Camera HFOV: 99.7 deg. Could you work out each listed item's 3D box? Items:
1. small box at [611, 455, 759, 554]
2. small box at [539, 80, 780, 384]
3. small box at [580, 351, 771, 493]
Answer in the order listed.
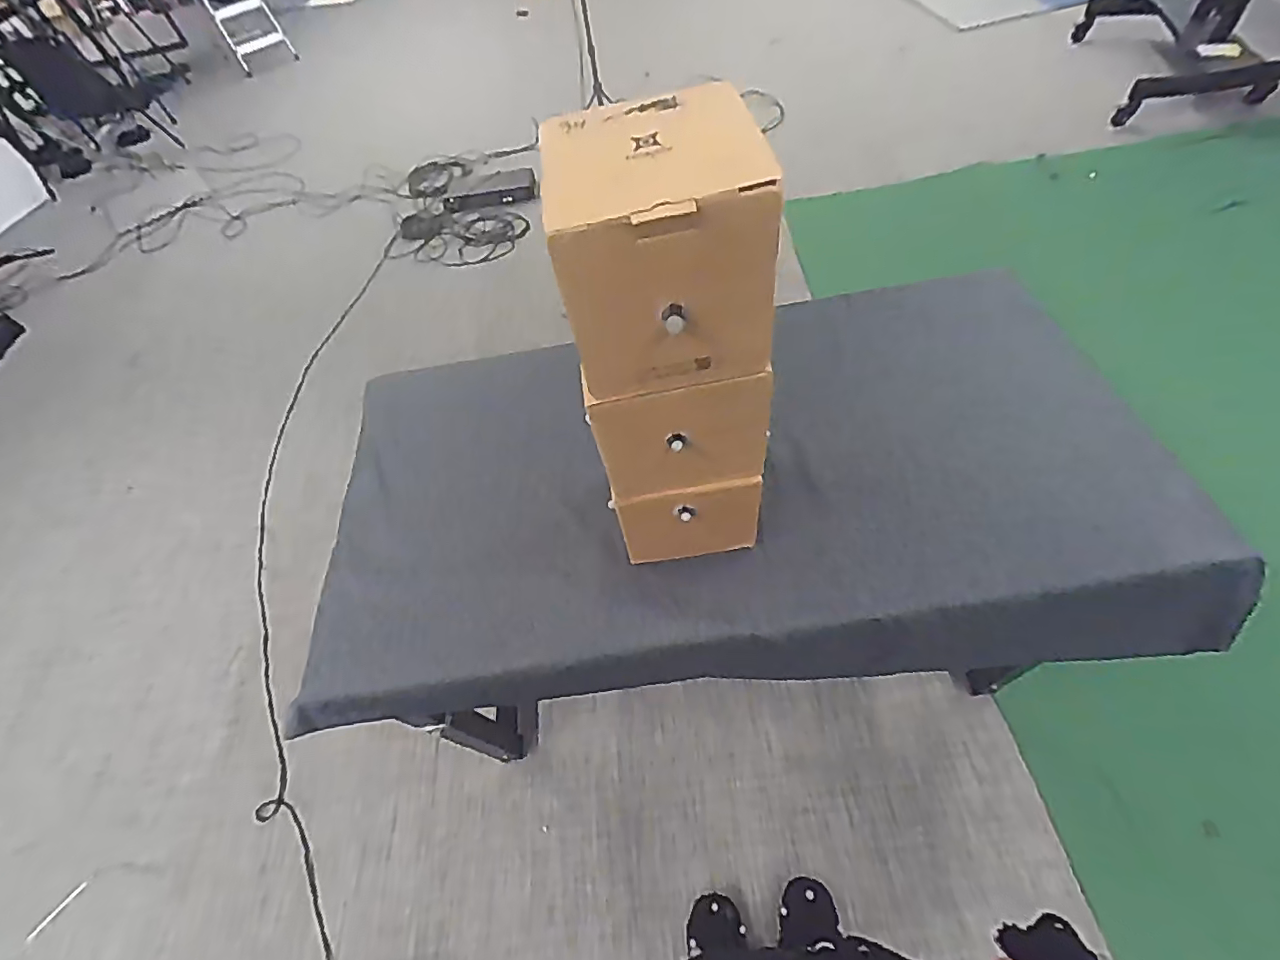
[{"bbox_3d":[0.055,-0.012,0.736,0.179,0.176,0.168,-8,57,2],"label":"small box"},{"bbox_3d":[0.016,-0.201,0.471,0.168,0.176,0.179,-10,57,2],"label":"small box"},{"bbox_3d":[0.035,-0.105,0.601,0.179,0.176,0.168,-11,56,3],"label":"small box"}]
